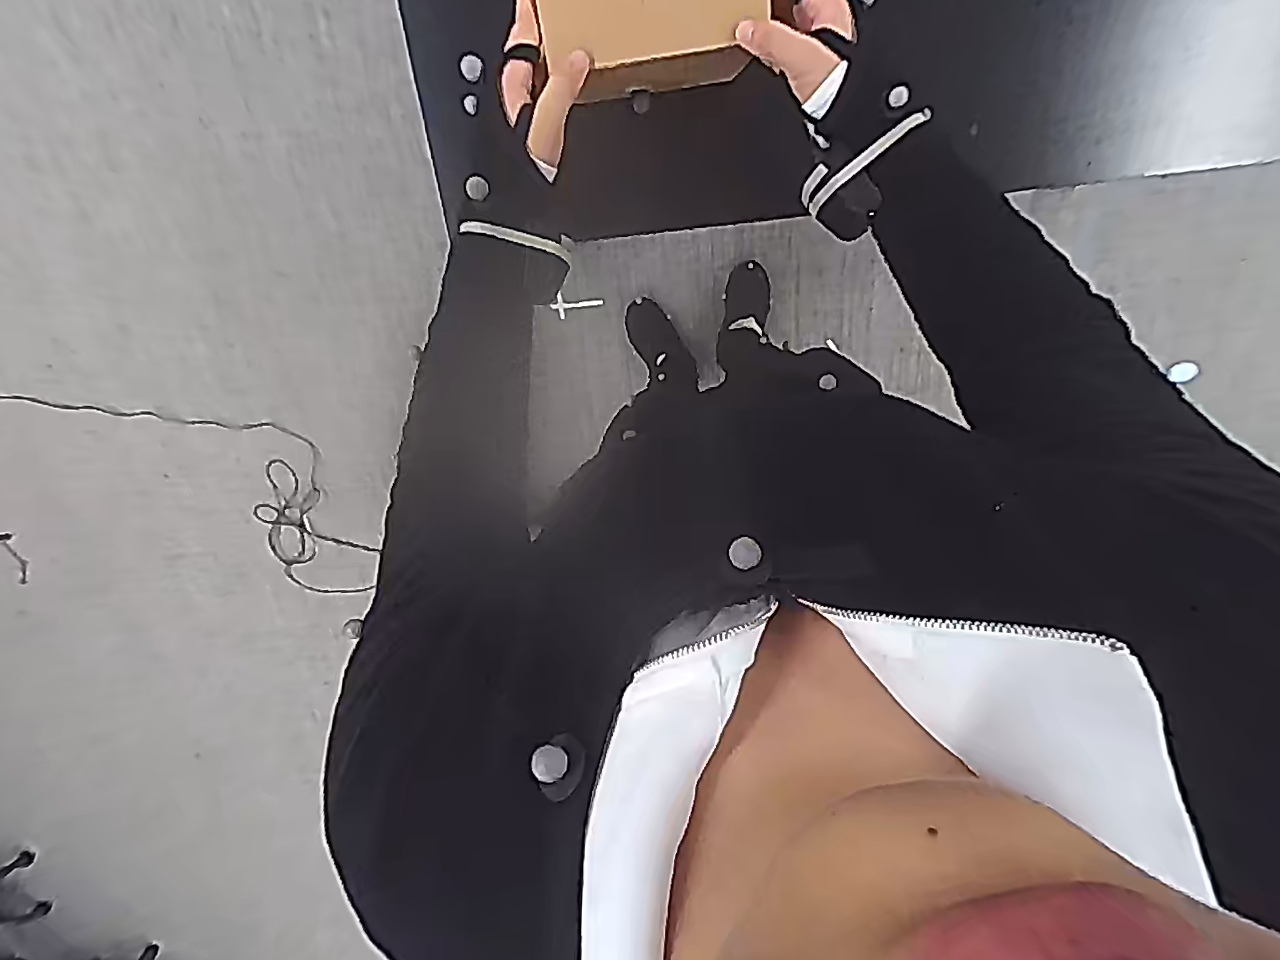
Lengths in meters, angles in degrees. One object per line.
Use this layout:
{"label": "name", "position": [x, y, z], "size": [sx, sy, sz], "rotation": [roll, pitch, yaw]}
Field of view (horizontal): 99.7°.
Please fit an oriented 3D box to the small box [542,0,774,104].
{"label": "small box", "position": [0.005, -0.423, 0.426], "size": [0.168, 0.176, 0.179], "rotation": [-7, 119, 4]}
